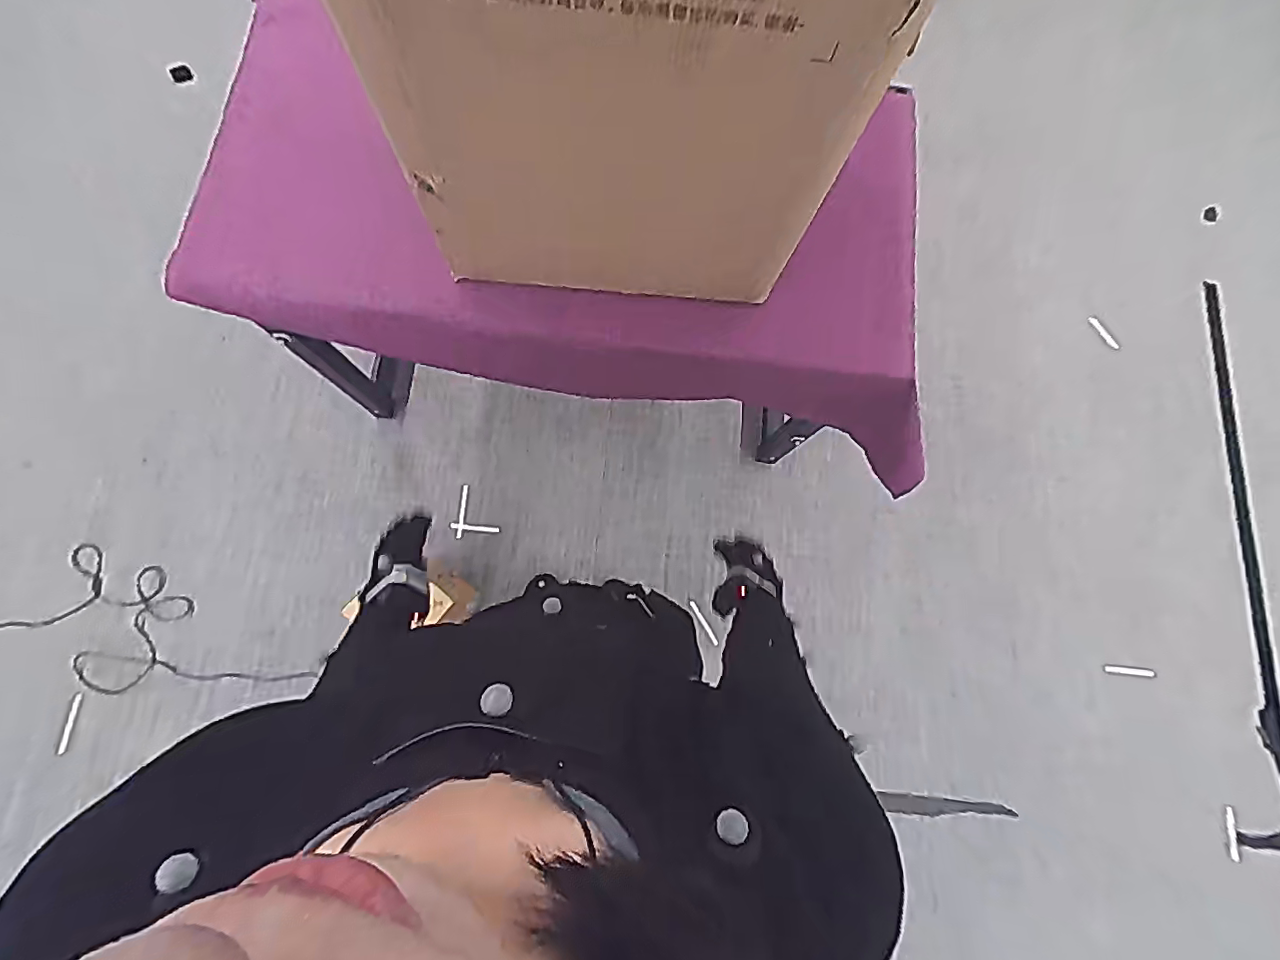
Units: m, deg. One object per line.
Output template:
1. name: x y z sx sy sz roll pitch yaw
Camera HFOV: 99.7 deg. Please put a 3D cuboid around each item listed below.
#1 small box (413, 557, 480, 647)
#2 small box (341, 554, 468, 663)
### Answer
1. small box: -0.541 0.319 1.391 0.179 0.176 0.168 36 78 2
2. small box: -0.524 0.291 1.230 0.179 0.176 0.168 38 78 4
